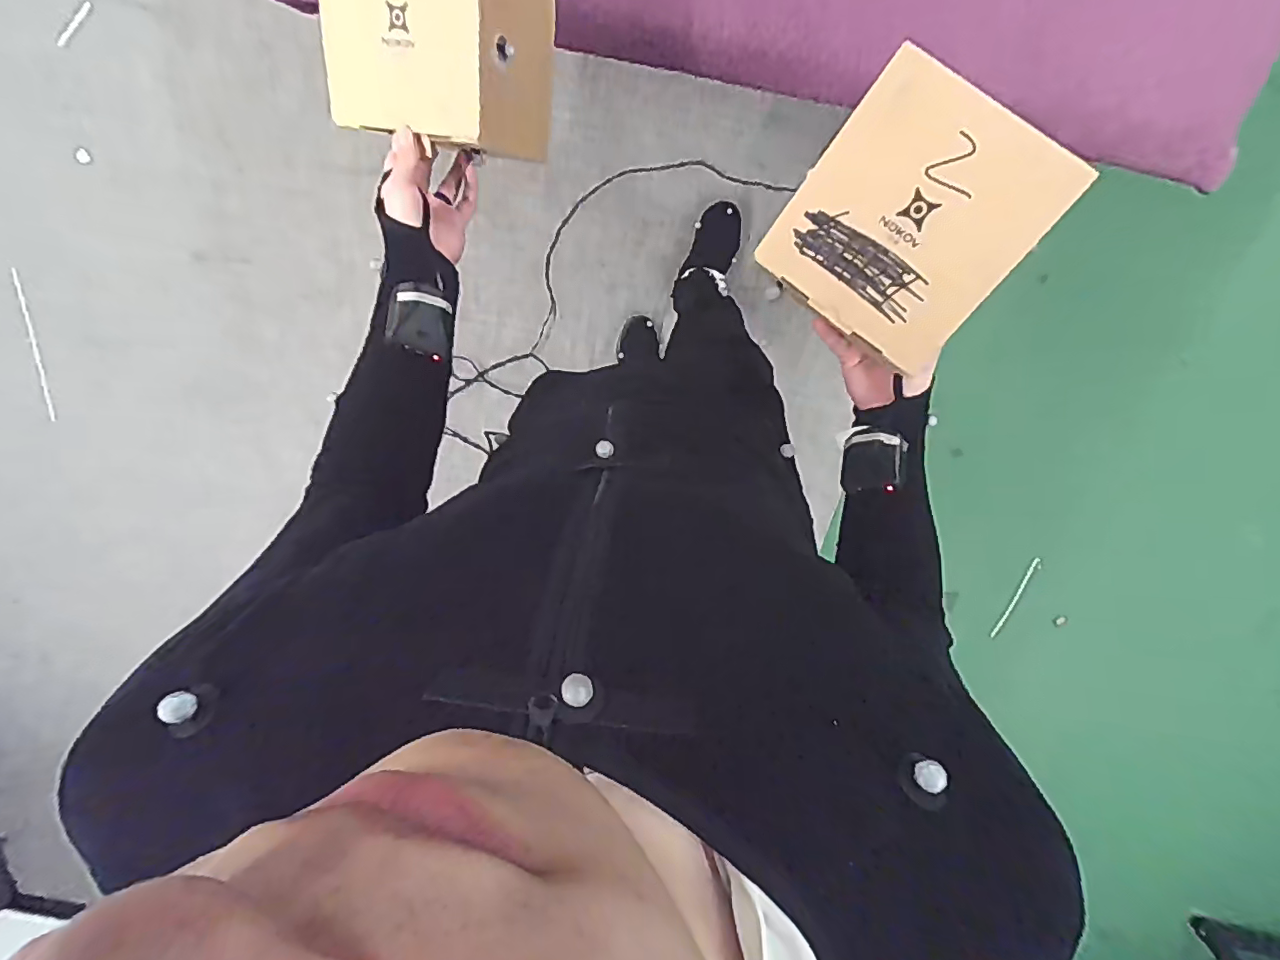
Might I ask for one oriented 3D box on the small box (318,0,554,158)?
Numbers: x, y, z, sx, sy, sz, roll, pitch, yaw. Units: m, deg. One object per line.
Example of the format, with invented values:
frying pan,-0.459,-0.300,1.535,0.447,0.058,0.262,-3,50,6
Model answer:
small box,-0.199,-0.449,0.560,0.168,0.176,0.179,13,115,10
